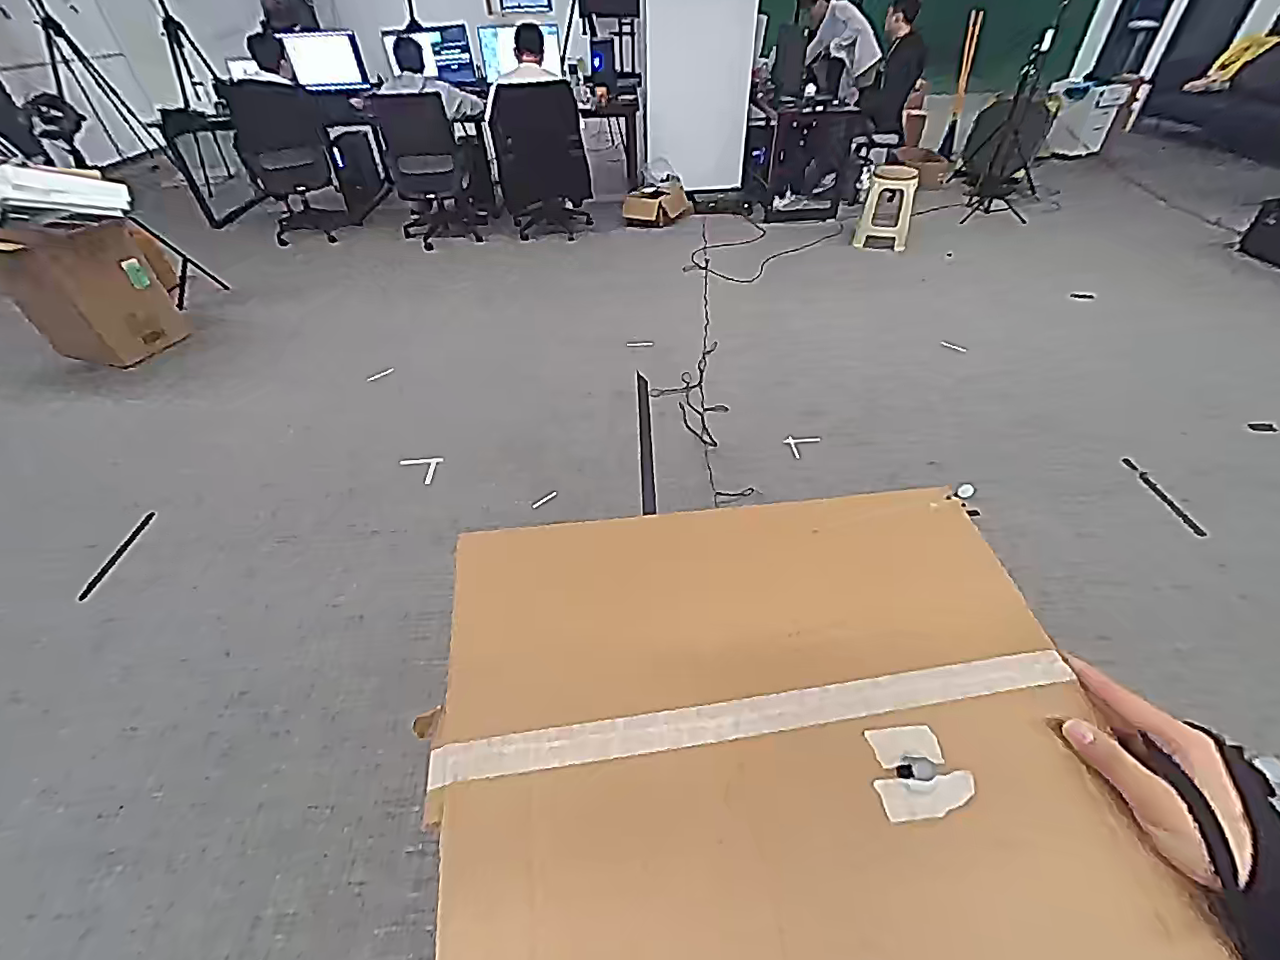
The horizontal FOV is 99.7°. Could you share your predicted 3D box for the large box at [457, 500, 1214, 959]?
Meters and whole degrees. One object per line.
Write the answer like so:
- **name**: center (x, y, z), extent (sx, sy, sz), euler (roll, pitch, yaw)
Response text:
- **large box**: center (0.077, 0.247, 0.461), extent (0.408, 0.320, 0.320), euler (-5, 53, -9)
